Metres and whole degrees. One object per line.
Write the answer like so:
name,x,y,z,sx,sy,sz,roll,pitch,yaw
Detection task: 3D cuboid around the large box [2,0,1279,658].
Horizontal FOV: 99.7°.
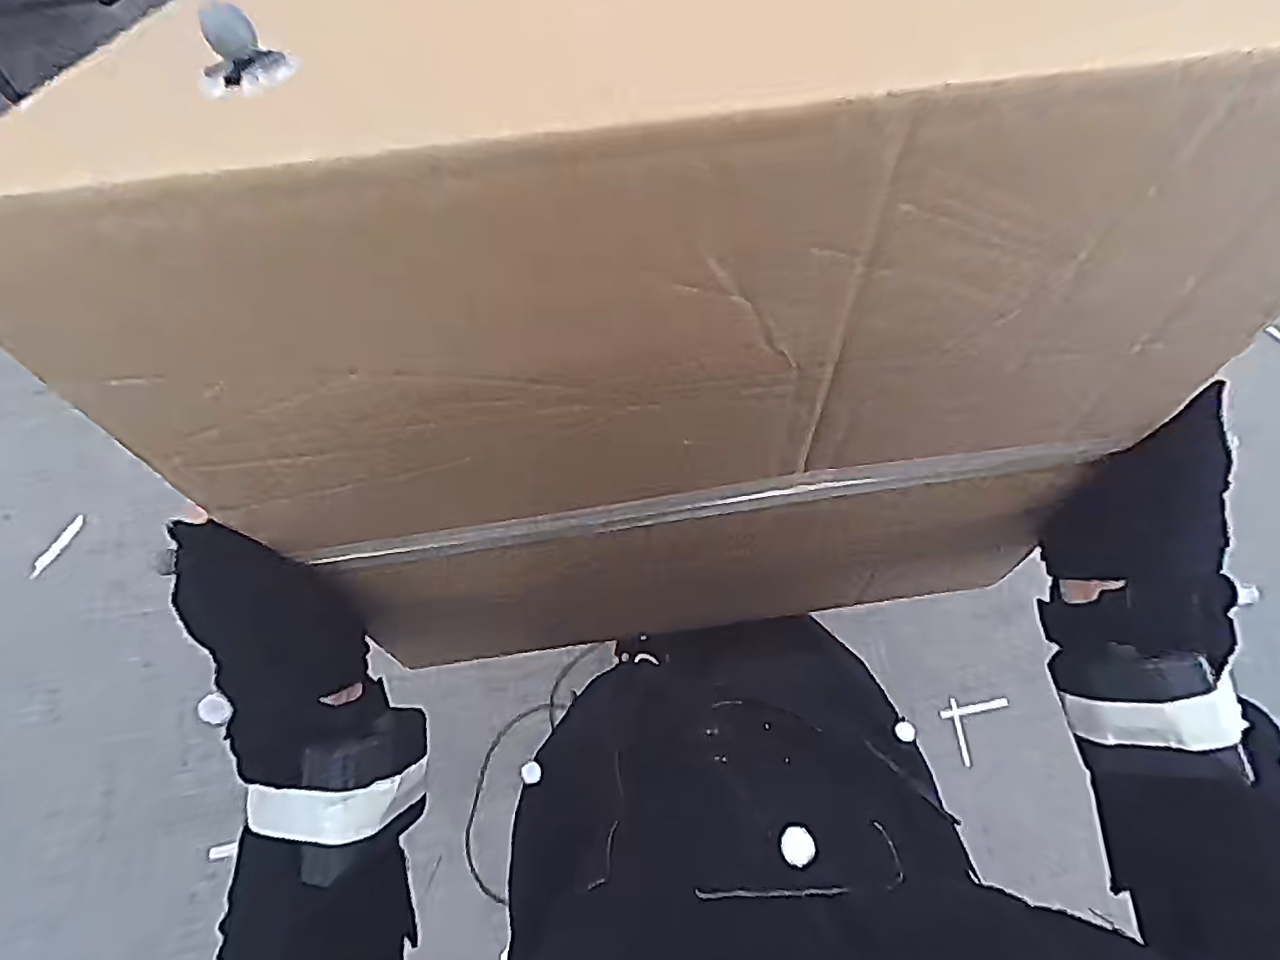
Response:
large box,0.019,-0.114,0.349,0.408,0.320,0.320,-8,53,-2
